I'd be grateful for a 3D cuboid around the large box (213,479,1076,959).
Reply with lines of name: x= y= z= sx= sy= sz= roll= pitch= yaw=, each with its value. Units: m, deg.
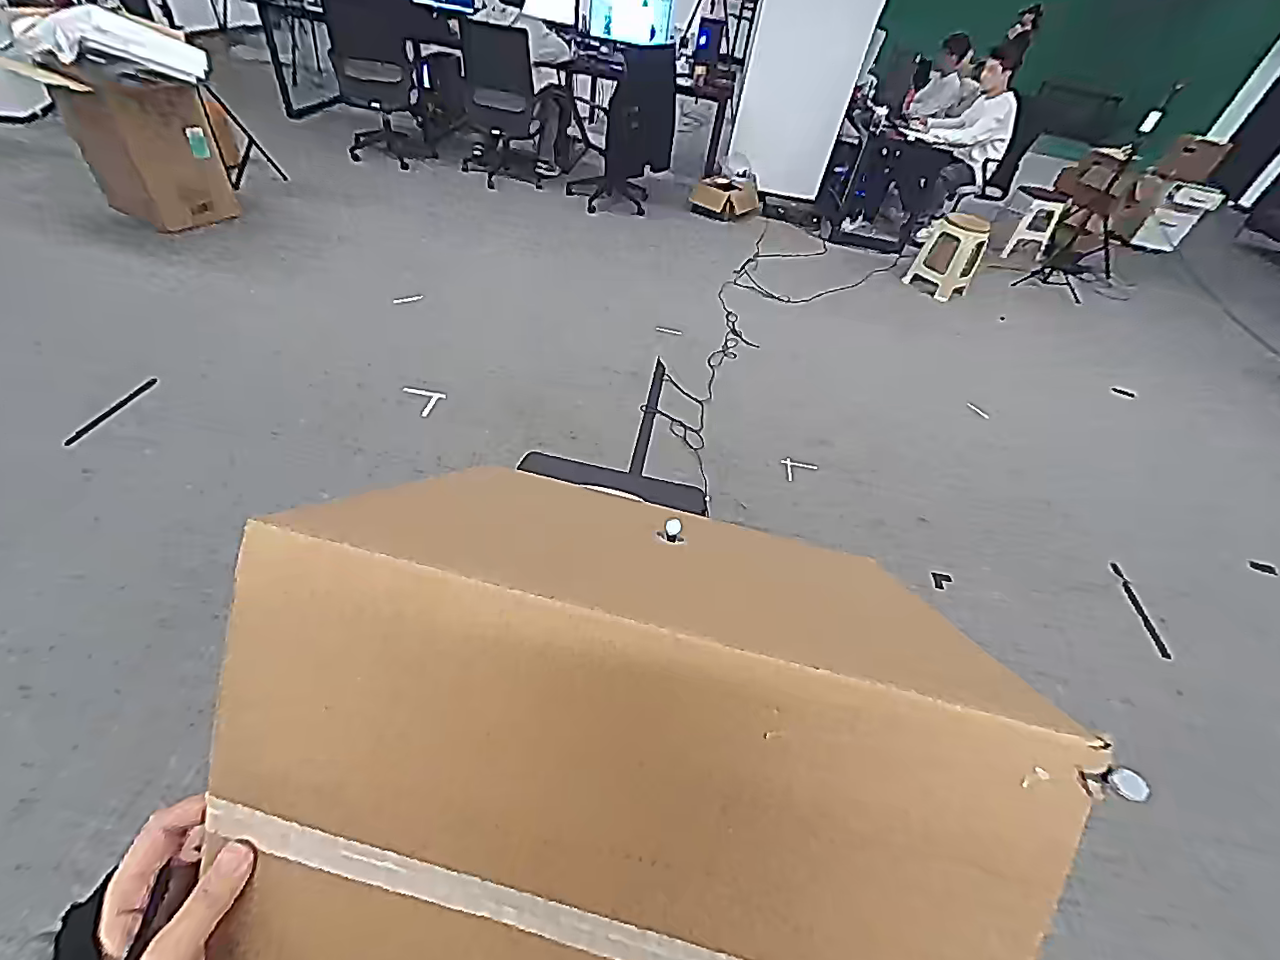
large box: x=-0.012 y=0.197 z=0.424 sx=0.408 sy=0.320 sz=0.320 roll=13 pitch=8 yaw=3
